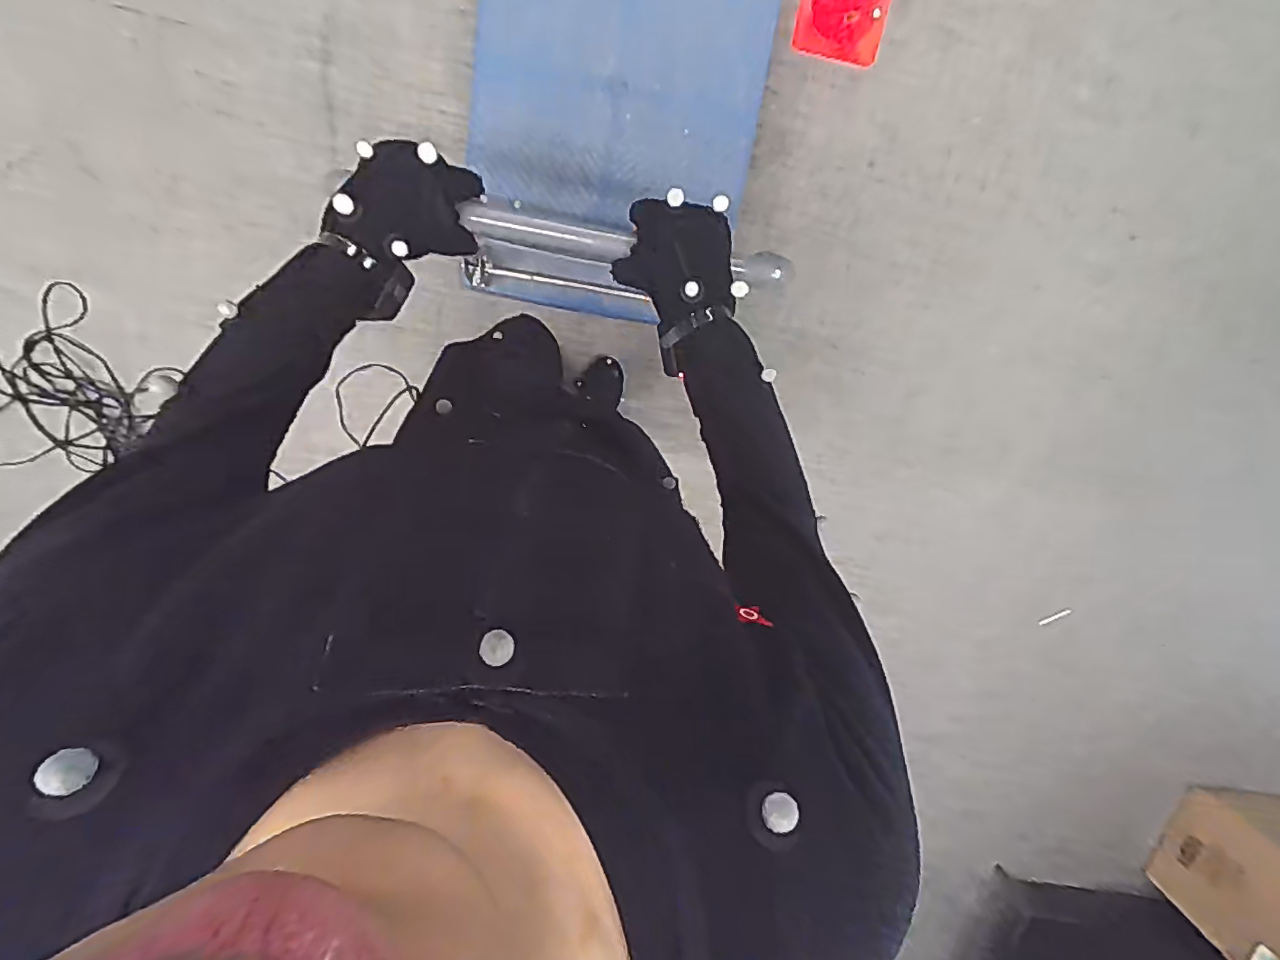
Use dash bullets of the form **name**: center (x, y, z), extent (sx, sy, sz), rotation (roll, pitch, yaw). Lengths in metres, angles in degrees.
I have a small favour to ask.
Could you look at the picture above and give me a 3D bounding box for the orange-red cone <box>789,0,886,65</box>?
- **orange-red cone**: center (0.454, -1.019, 1.052), extent (0.199, 0.360, 0.198), rotation (12, 105, -4)
